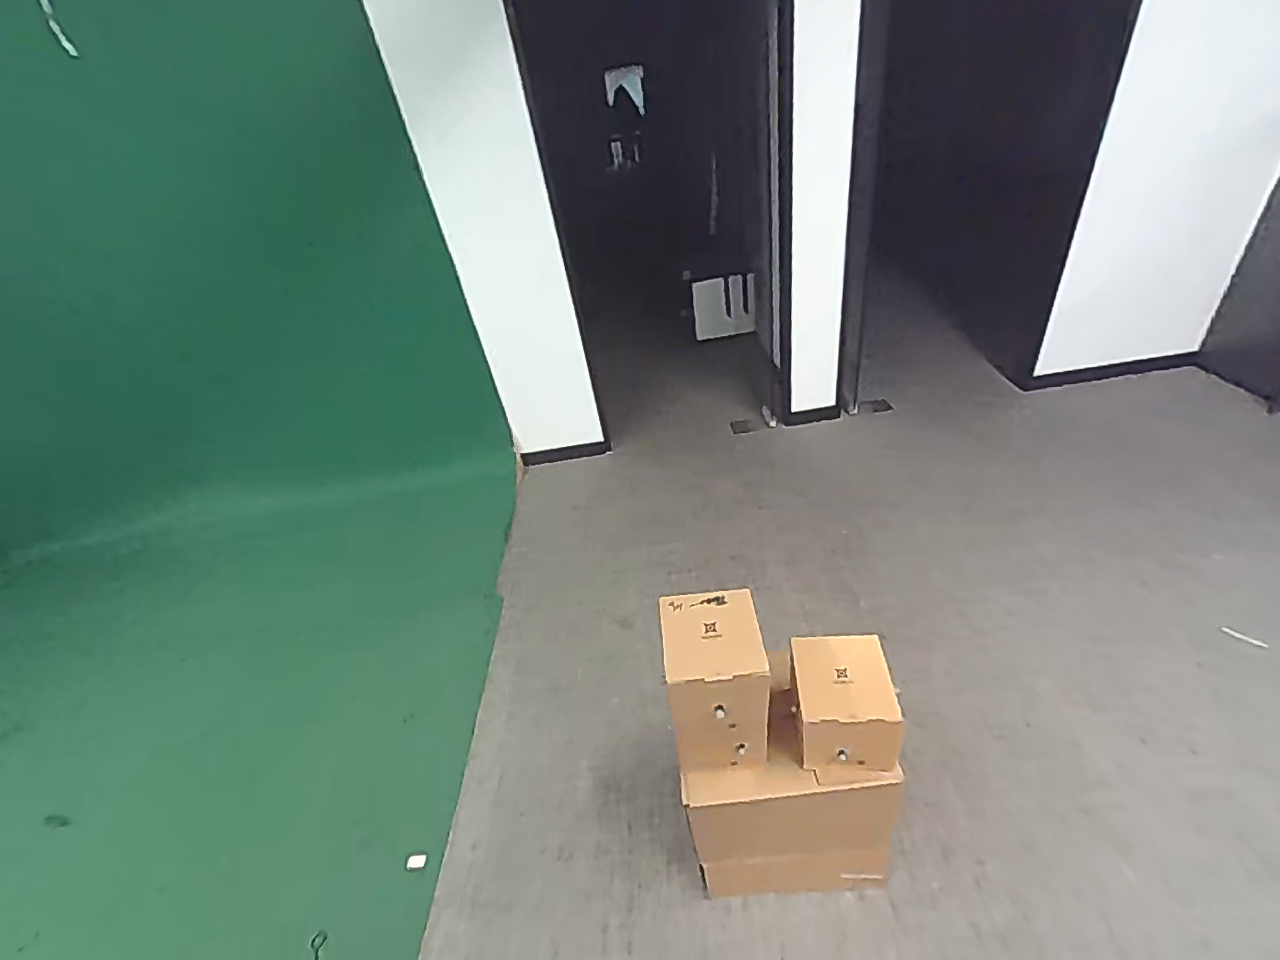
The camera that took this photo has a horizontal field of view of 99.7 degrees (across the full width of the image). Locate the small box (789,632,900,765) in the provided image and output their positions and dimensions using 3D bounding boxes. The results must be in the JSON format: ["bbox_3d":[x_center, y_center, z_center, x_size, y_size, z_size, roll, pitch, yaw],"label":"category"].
[{"bbox_3d":[0.377,0.414,1.031,0.168,0.176,0.179,-6,36,10],"label":"small box"}]

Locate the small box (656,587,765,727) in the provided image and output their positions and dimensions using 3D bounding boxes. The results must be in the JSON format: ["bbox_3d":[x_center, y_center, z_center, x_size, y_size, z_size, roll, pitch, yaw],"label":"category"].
[{"bbox_3d":[0.122,0.317,0.954,0.168,0.176,0.179,-7,38,2],"label":"small box"}]

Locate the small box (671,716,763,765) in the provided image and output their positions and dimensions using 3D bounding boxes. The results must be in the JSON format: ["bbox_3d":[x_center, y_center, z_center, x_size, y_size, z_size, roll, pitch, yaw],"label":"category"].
[{"bbox_3d":[0.146,0.440,1.061,0.168,0.176,0.179,-6,36,4],"label":"small box"}]
